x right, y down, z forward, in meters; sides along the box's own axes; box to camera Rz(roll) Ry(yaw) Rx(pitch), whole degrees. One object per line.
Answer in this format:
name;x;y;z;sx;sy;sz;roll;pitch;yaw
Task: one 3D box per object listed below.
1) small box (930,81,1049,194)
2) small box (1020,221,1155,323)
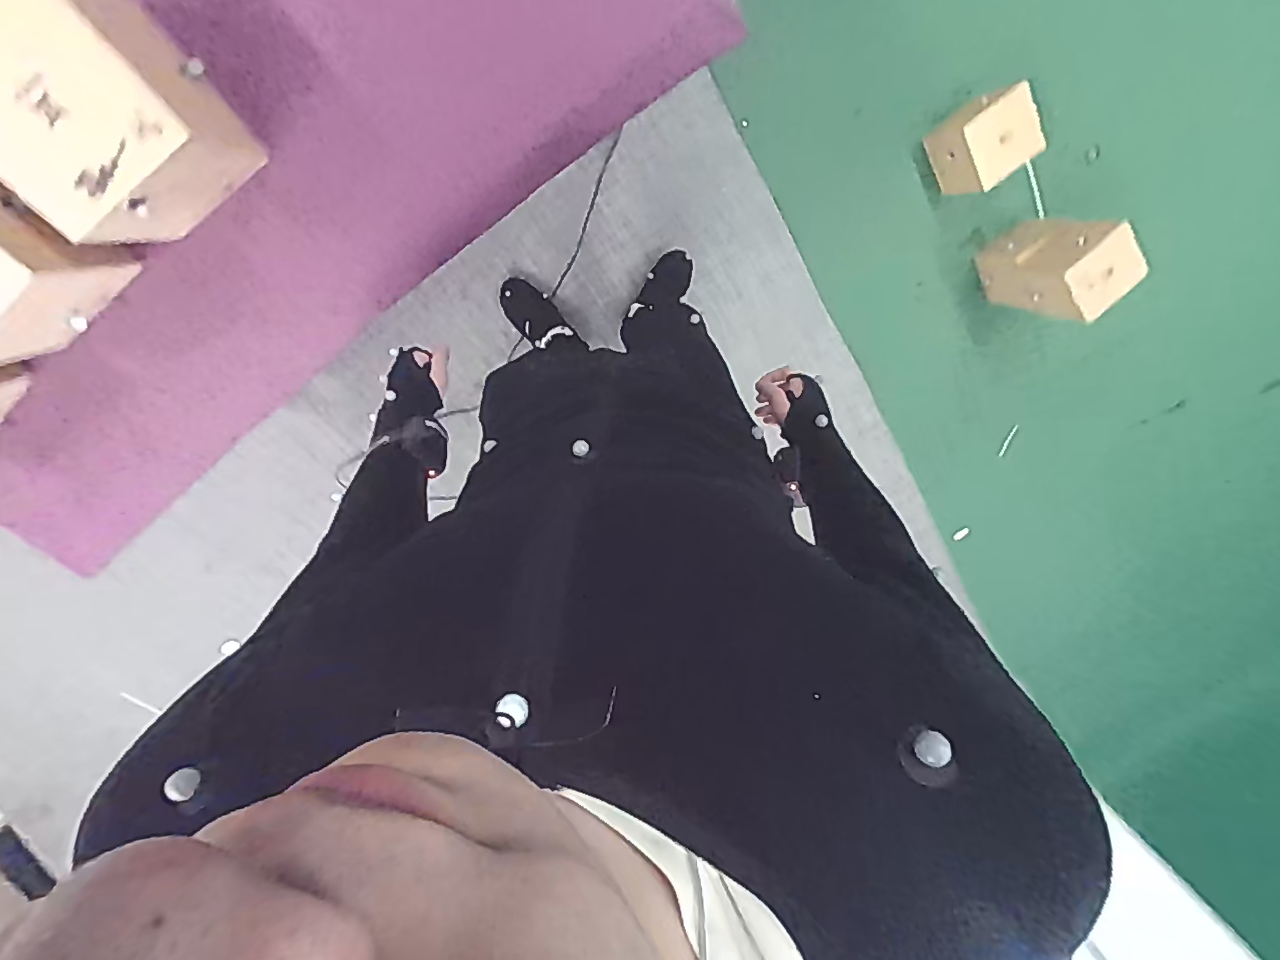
small box;0.872;-0.854;1.370;0.179;0.176;0.168;-37;114;8
small box;1.126;-0.530;1.373;0.168;0.176;0.179;41;103;-22
